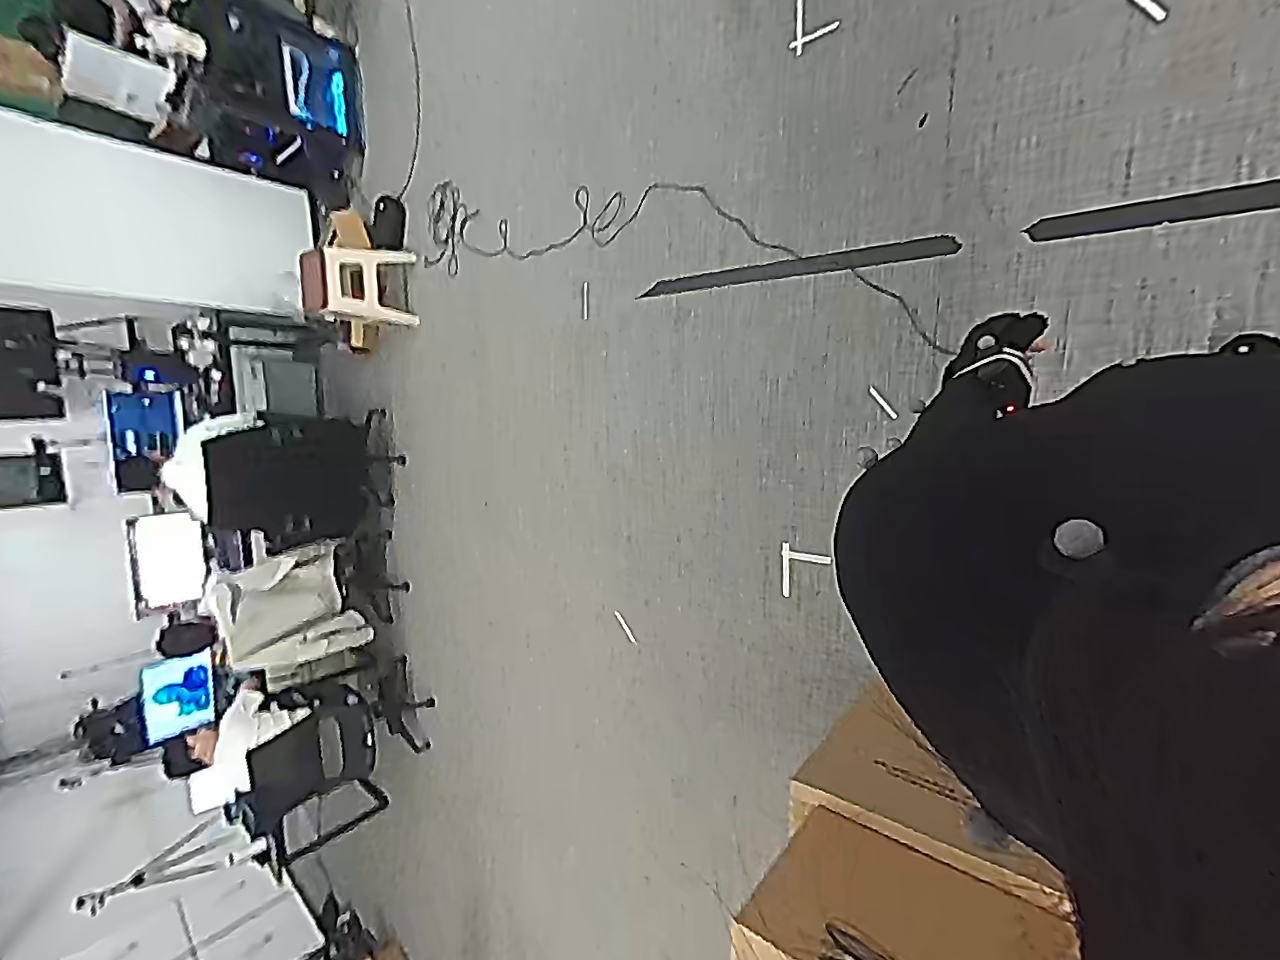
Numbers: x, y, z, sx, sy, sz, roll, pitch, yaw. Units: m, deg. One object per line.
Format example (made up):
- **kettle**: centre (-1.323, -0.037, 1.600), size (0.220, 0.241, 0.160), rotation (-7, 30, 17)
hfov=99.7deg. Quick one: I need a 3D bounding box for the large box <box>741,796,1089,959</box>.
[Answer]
- **large box**: centre (0.408, 0.776, 0.815), size (0.408, 0.320, 0.320), rotation (4, 98, 42)
